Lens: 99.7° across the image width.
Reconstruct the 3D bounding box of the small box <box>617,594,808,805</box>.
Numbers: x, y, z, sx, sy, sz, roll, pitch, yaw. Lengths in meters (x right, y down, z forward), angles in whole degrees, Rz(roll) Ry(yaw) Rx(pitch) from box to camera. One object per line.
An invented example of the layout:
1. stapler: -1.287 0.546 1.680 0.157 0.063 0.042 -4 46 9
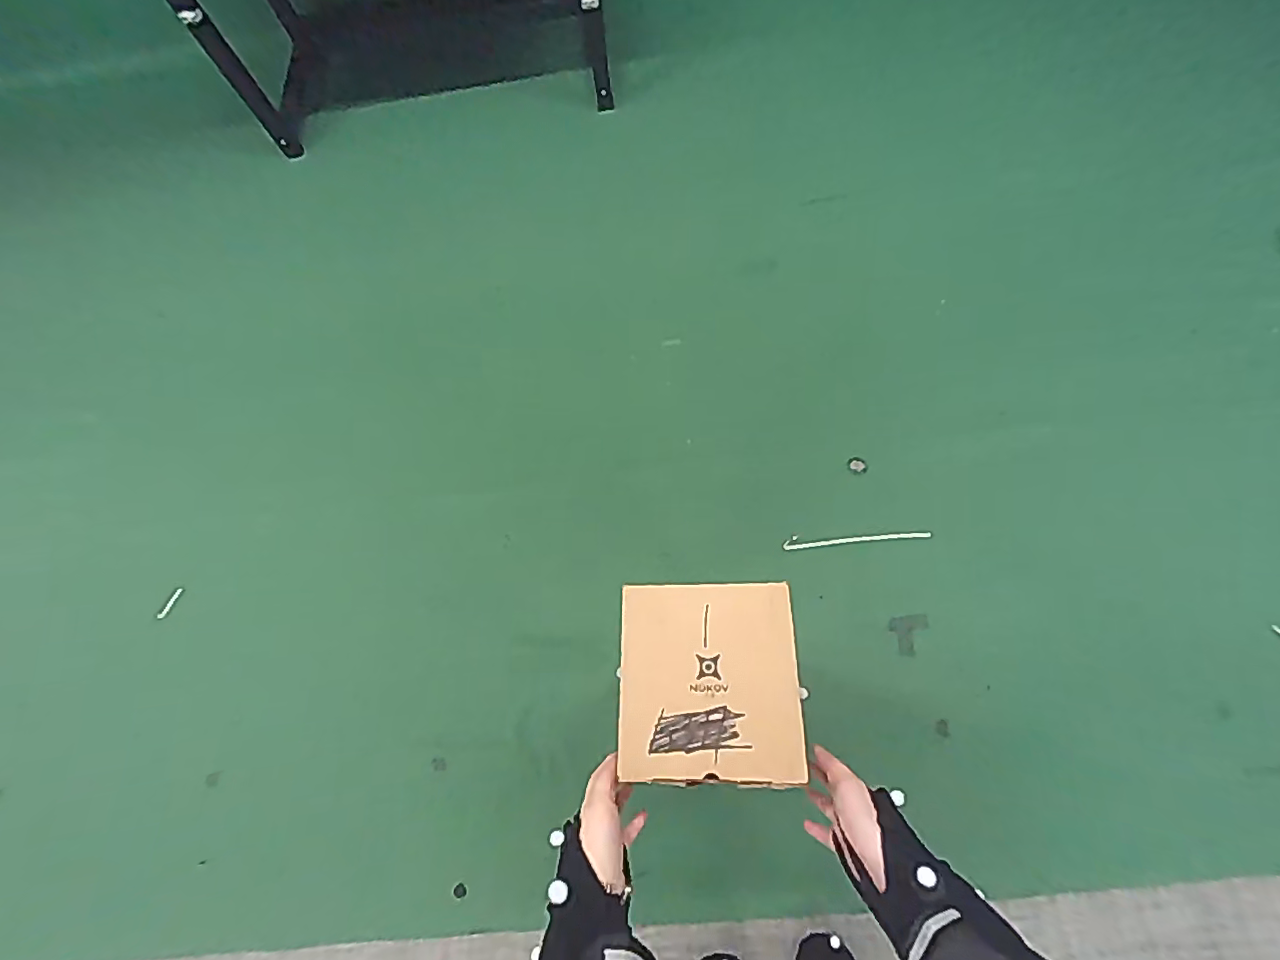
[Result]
1. small box: 0.073 0.223 0.563 0.168 0.176 0.179 -1 66 7
